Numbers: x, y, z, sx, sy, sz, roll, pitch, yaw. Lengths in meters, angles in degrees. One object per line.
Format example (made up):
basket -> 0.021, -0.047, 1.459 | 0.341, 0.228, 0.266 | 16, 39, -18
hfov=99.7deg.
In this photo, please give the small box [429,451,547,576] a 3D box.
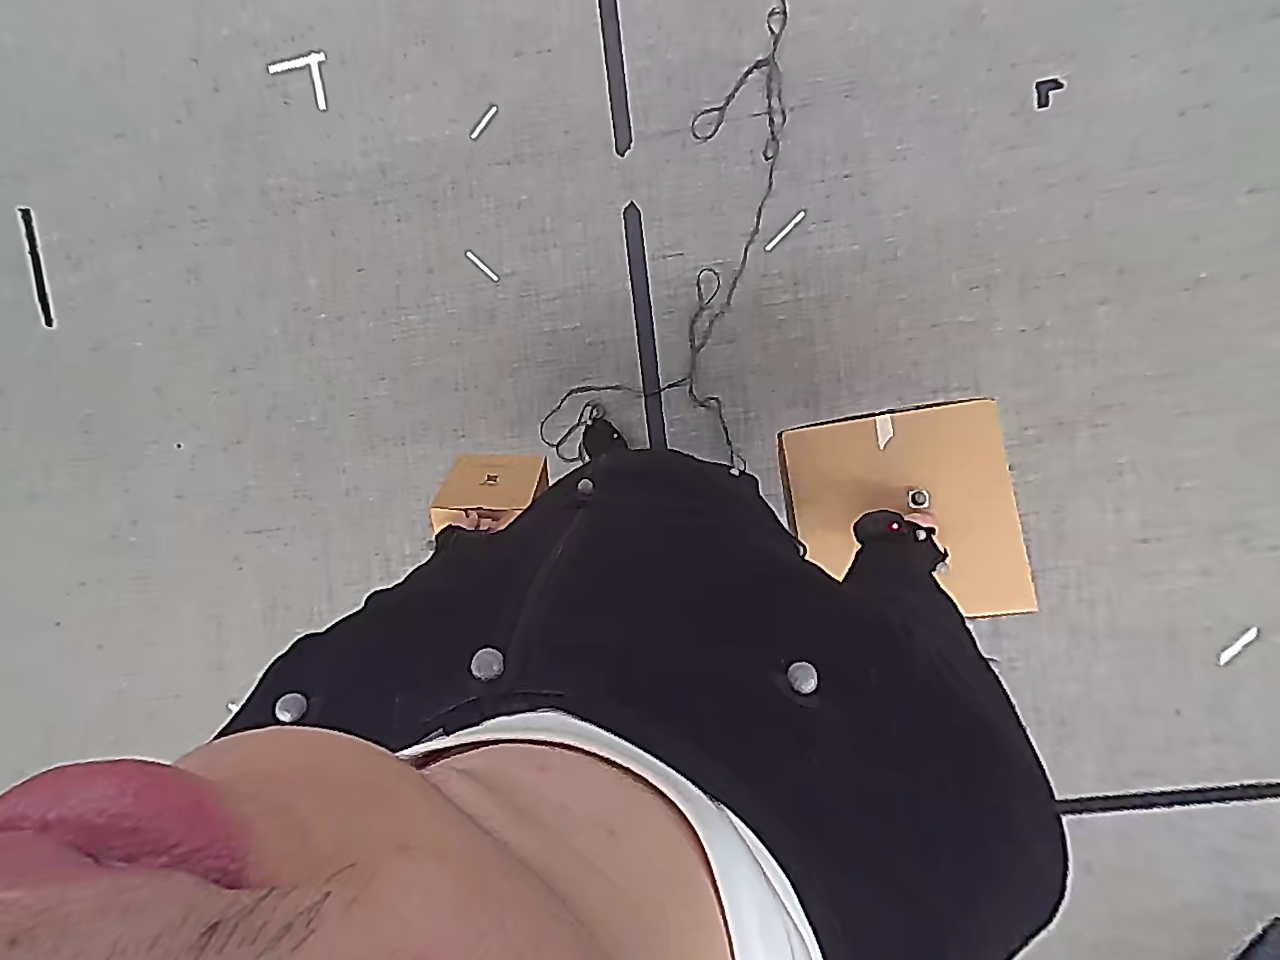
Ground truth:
small box -> -0.268, 0.062, 1.003 | 0.168, 0.179, 0.176 | 2, 125, -1
